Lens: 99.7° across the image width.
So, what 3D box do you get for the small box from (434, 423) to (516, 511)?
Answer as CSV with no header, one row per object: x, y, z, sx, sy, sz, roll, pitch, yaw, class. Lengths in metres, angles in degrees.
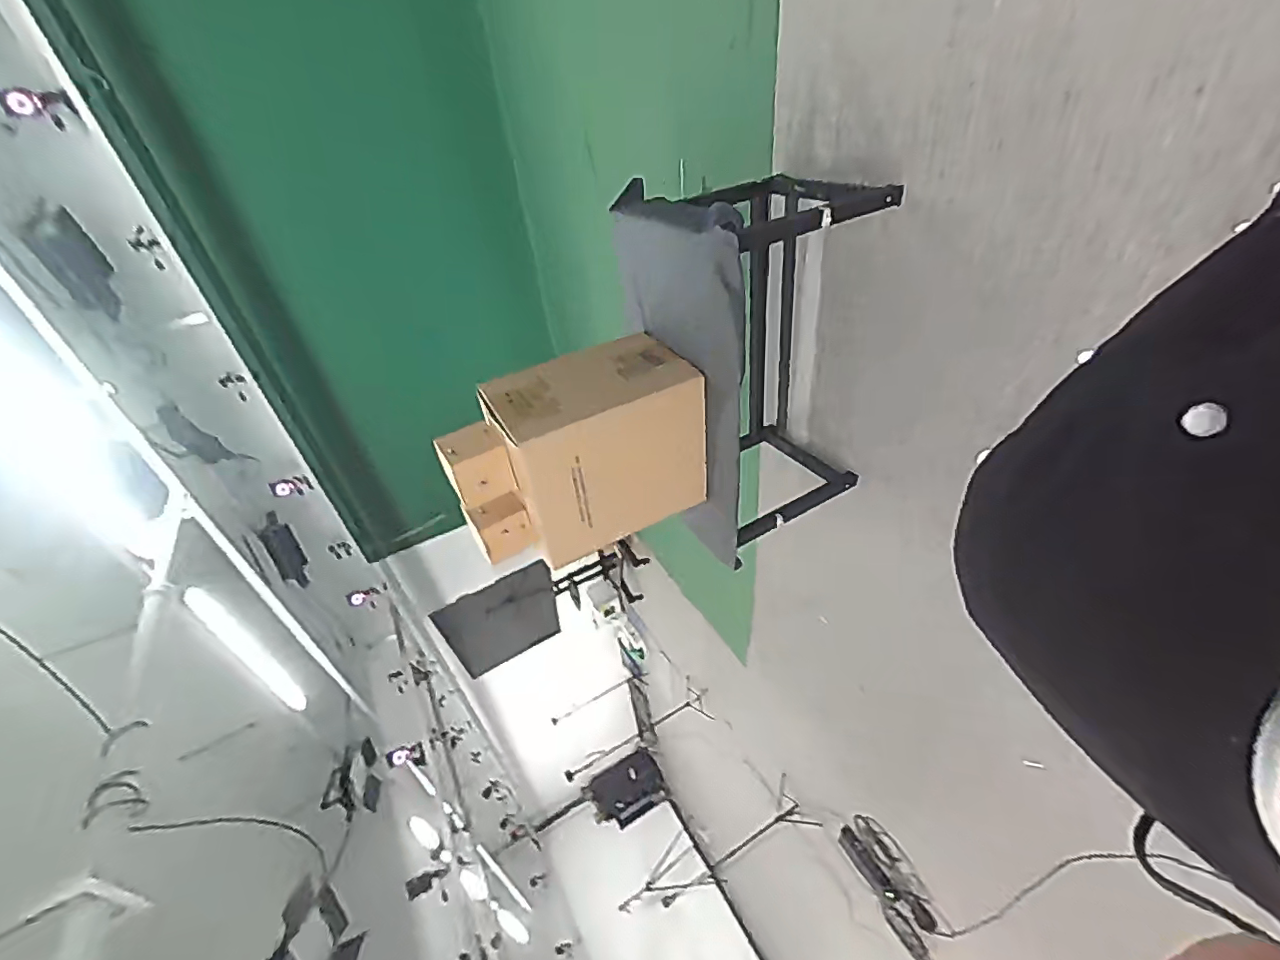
-0.498,-0.044,1.654,0.168,0.176,0.179,42,150,41,small box

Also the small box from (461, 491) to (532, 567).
-0.474,0.153,1.817,0.179,0.176,0.168,43,149,43,small box
